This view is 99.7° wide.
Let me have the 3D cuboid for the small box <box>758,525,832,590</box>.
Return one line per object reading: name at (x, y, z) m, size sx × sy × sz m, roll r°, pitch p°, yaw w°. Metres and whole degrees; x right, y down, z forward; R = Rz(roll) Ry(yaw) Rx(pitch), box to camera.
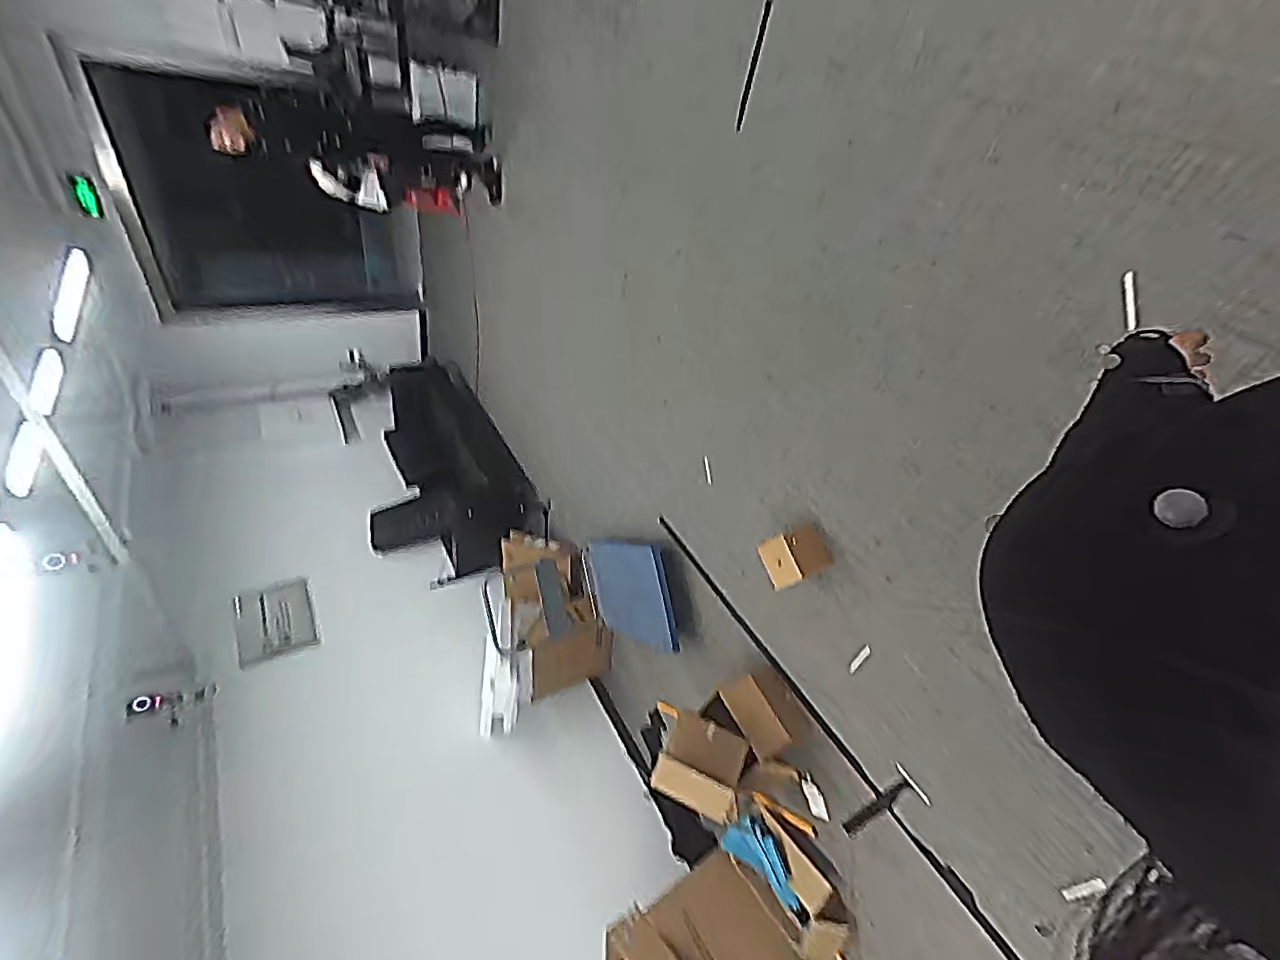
small box at (0.587, 0.292, 2.039) m, size 0.168 × 0.176 × 0.179 m, roll -48°, pitch 61°, yaw 56°
